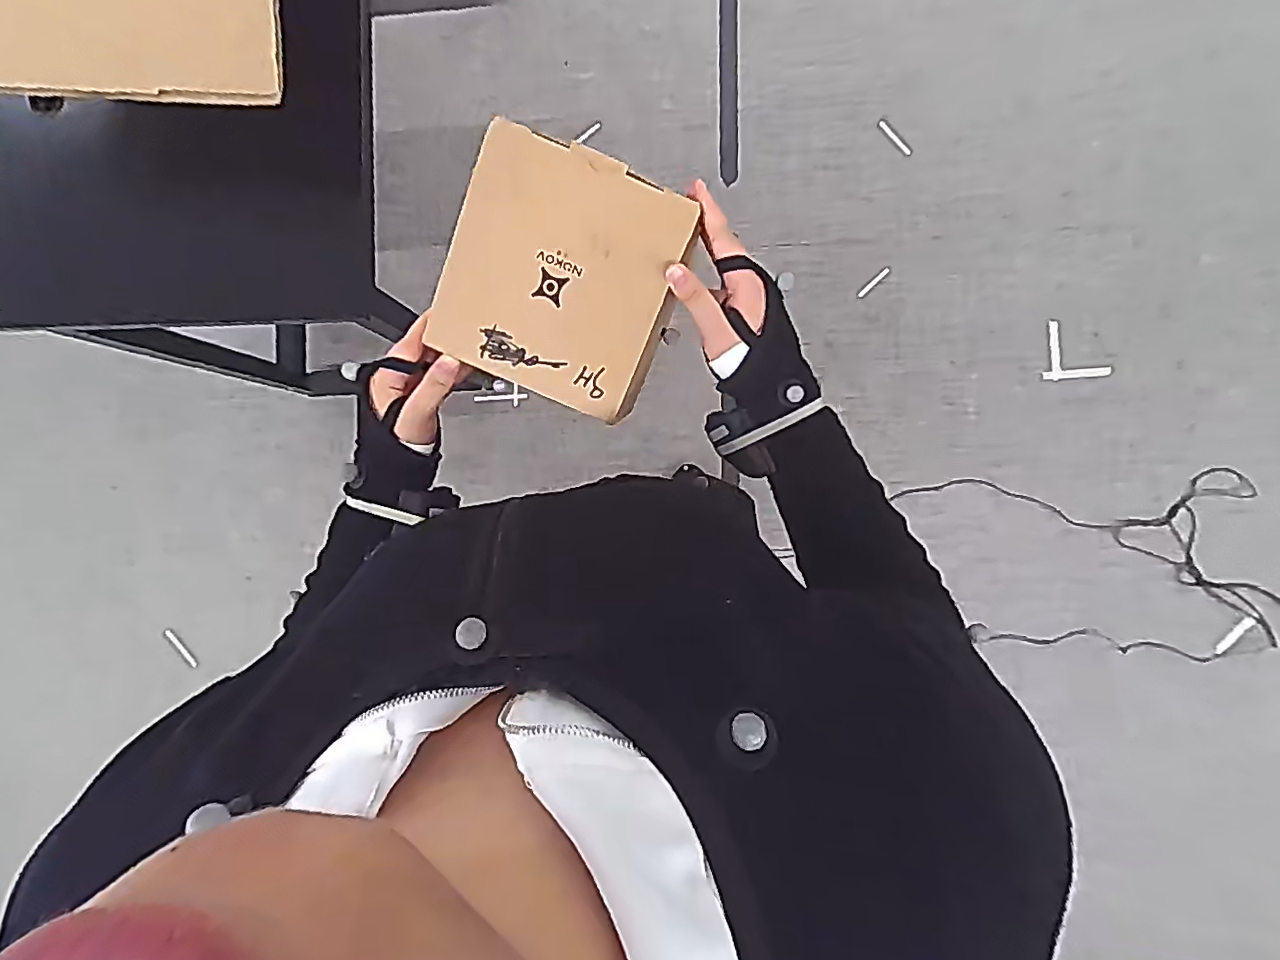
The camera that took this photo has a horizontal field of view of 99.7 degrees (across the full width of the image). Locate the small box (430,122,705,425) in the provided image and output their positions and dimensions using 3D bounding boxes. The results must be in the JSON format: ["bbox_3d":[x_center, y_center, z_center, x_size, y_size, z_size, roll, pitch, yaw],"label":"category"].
[{"bbox_3d":[-0.054,-0.167,0.489,0.168,0.176,0.179,24,102,0],"label":"small box"}]

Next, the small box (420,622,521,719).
[{"bbox_3d":[-0.390,0.442,1.277,0.179,0.176,0.168,-8,88,5],"label":"small box"}]
